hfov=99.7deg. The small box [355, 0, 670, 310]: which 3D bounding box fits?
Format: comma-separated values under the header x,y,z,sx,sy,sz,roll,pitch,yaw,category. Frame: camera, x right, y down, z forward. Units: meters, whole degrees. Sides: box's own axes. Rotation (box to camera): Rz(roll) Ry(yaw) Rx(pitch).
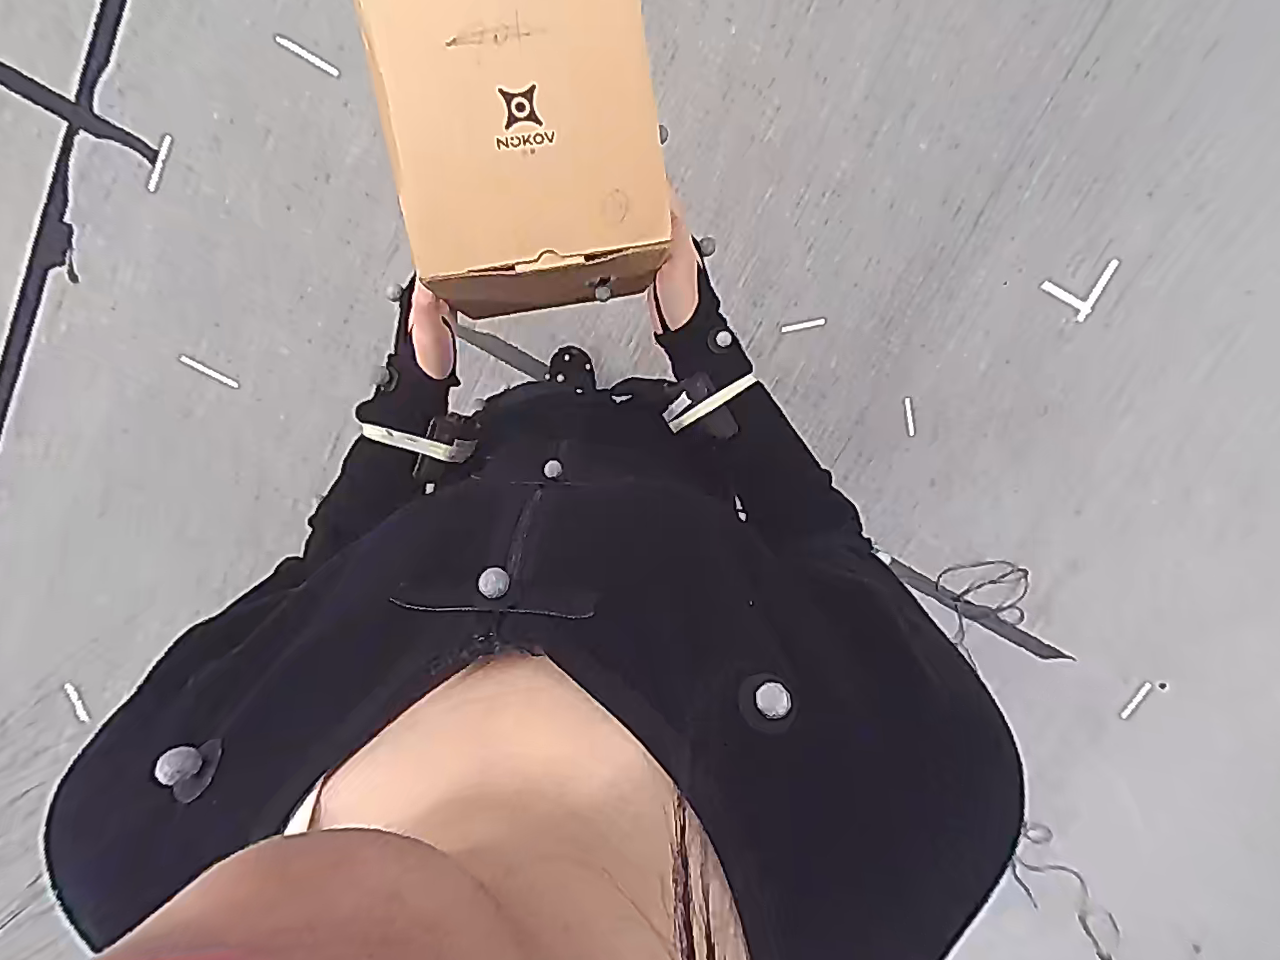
x,y,z,sx,sy,sz,roll,pitch,yaw,category
-0.081,-0.233,0.405,0.168,0.176,0.179,-11,99,-6,small box
